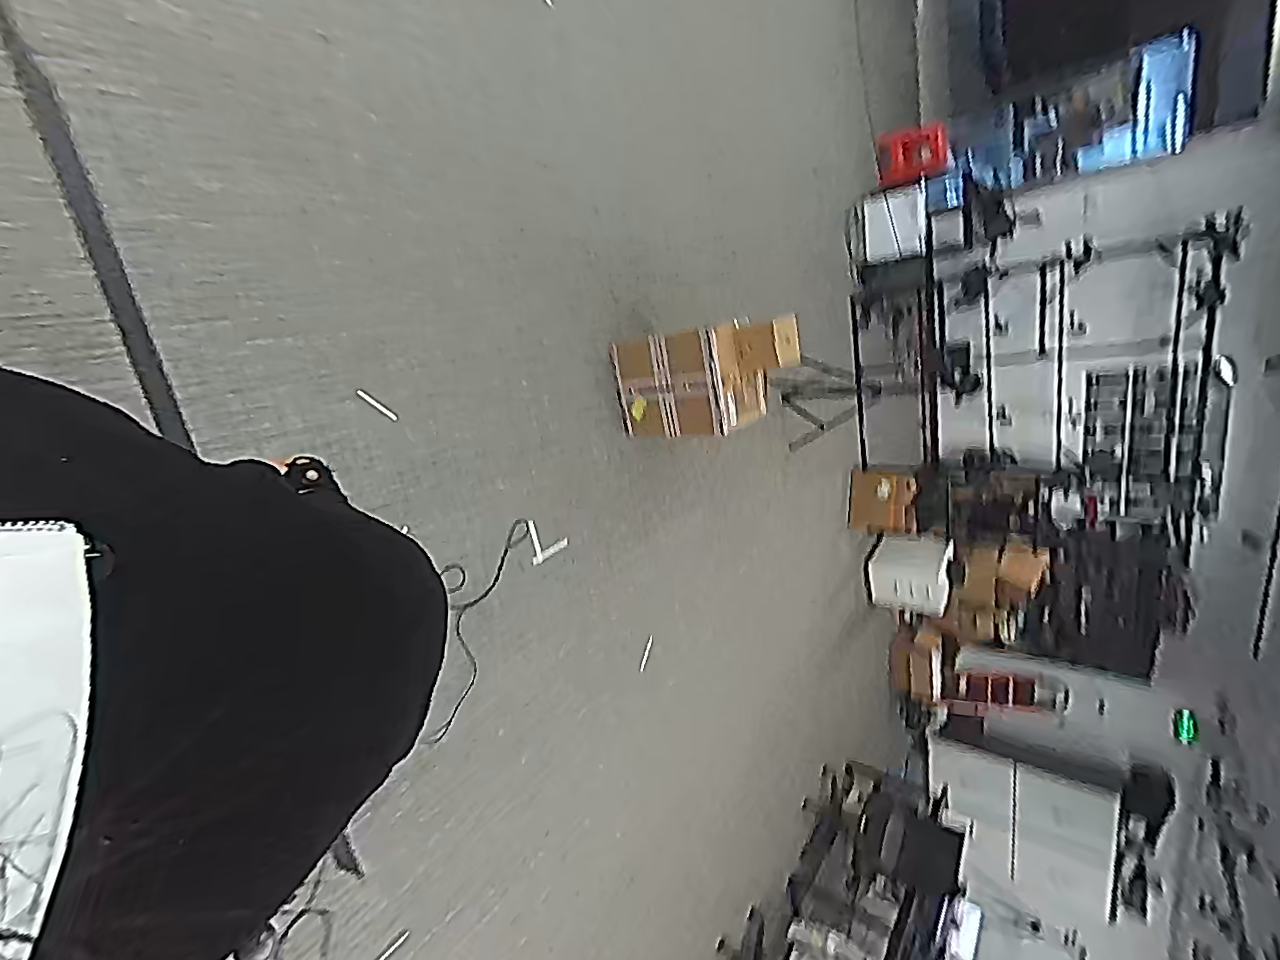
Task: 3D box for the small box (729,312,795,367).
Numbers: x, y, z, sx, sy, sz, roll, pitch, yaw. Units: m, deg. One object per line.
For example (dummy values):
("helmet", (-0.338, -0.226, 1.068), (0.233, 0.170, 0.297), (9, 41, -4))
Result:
("small box", (0.456, -0.525, 2.019), (0.179, 0.176, 0.168), (-27, 111, -43))
